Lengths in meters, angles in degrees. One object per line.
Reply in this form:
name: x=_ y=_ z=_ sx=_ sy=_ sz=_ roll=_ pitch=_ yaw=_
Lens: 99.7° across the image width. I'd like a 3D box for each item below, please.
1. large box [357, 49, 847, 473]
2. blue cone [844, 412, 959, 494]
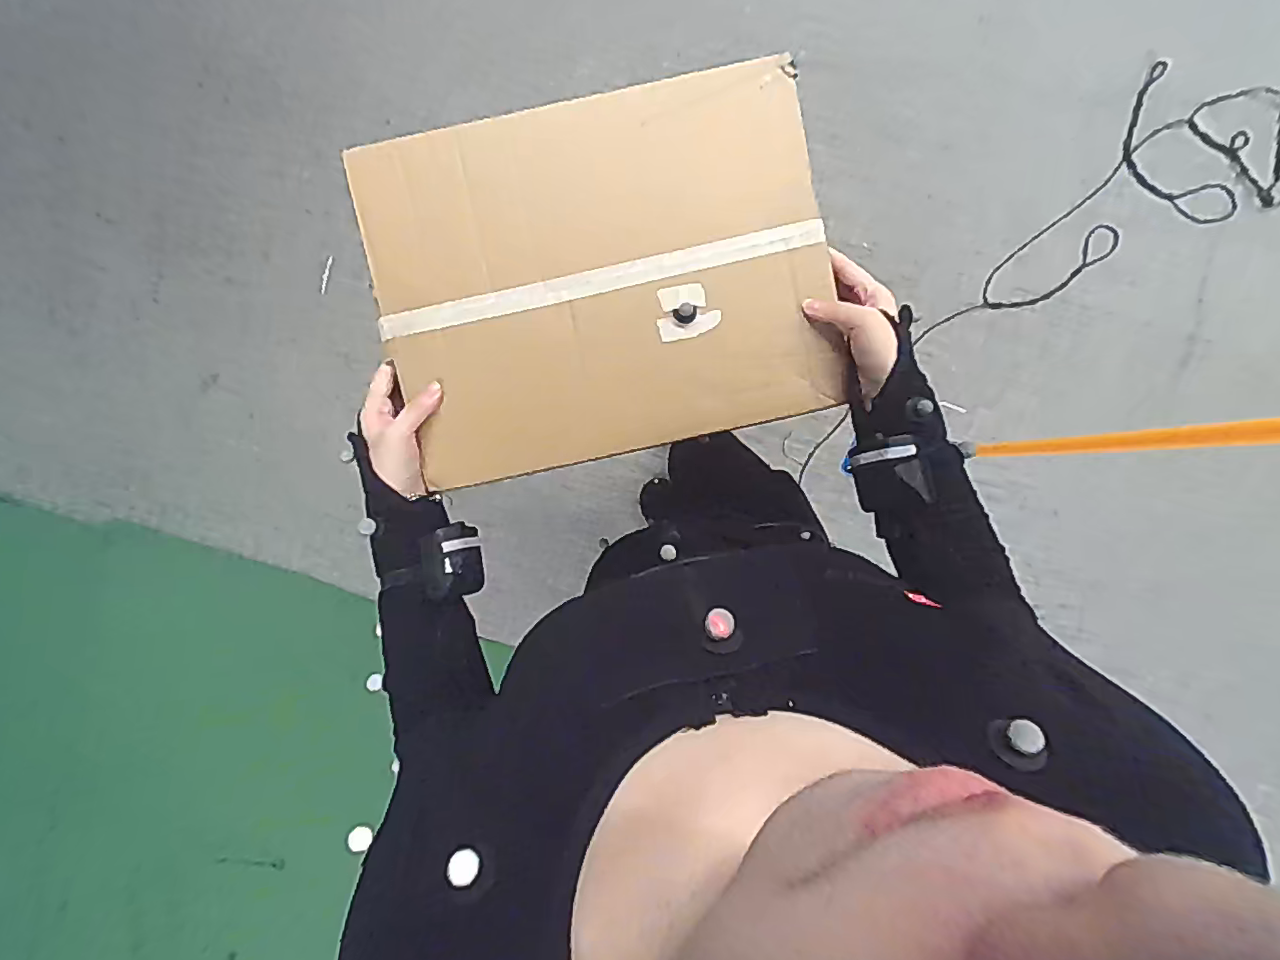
large box: x=-0.035 y=-0.207 z=0.642 sx=0.408 sy=0.320 sz=0.320 roll=-12 pitch=95 yaw=-1
blue cone: x=0.653 y=-0.064 z=1.288 sx=0.193 sy=0.380 sz=0.192 roll=26 pitch=95 yaw=3
